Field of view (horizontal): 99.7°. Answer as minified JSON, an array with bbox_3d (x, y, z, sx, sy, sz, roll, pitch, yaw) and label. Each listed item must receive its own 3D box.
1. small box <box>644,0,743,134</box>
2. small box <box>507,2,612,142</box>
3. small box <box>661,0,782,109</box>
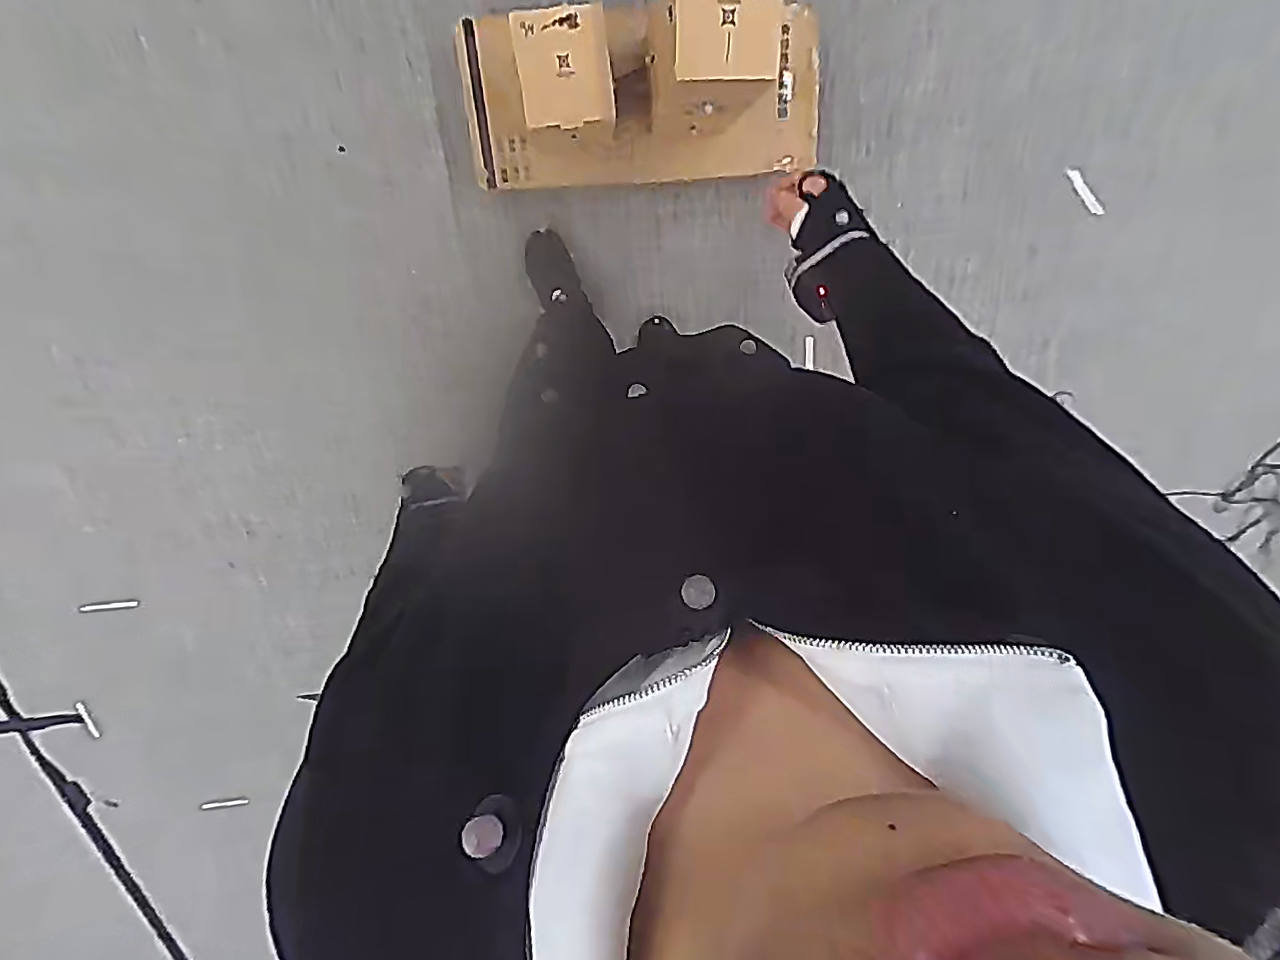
[{"bbox_3d":[0.101,-0.791,1.037,0.168,0.176,0.179,-6,111,-3],"label":"small box"},{"bbox_3d":[-0.144,-0.758,1.026,0.168,0.176,0.179,-8,112,-2],"label":"small box"},{"bbox_3d":[0.125,-0.735,0.885,0.168,0.176,0.179,-3,112,-4],"label":"small box"}]
